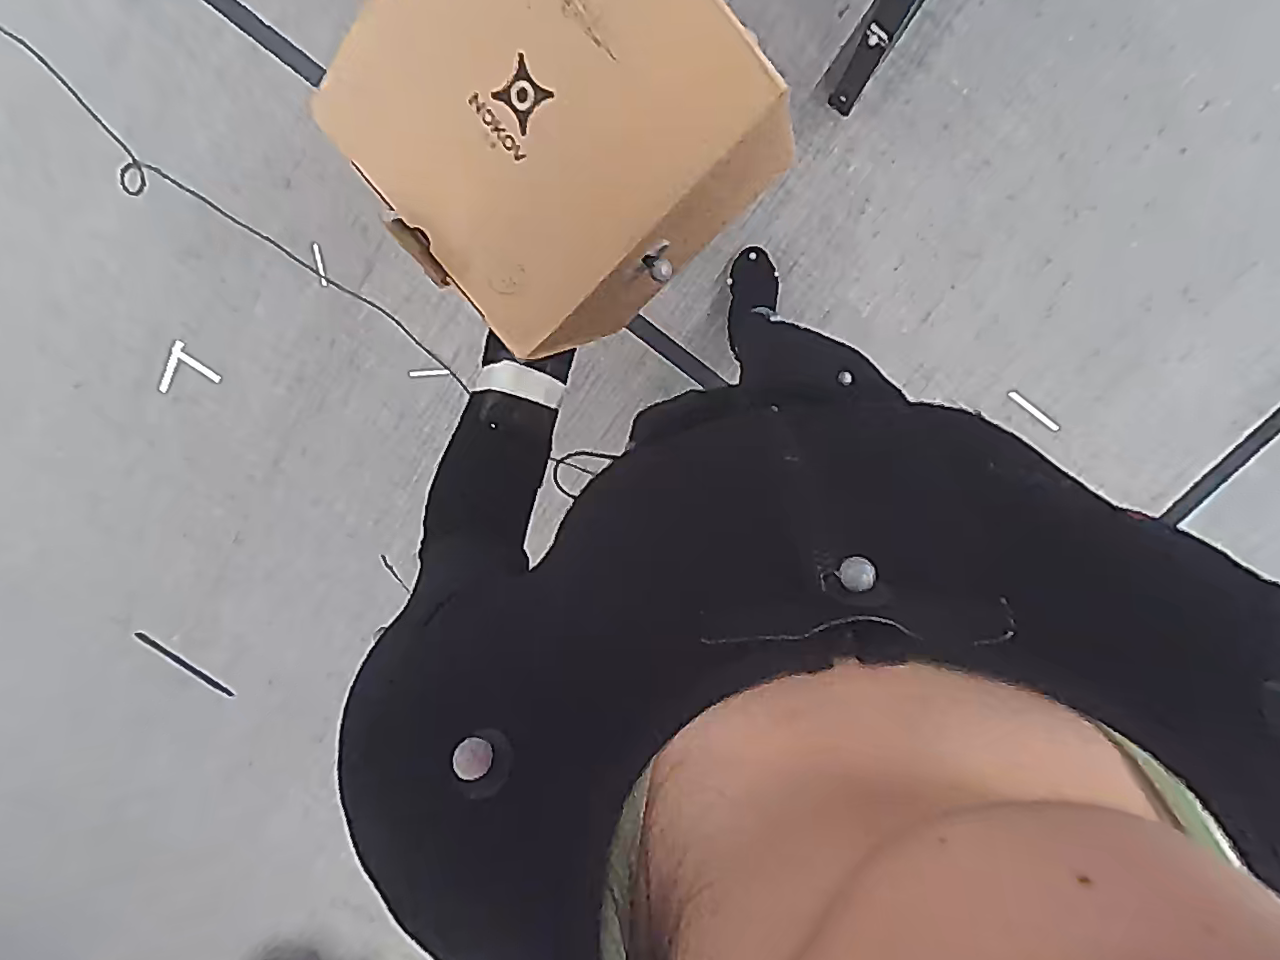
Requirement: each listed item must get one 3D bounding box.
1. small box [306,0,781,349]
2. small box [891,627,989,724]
[{"bbox_3d":[-0.037,-0.204,0.316,0.179,0.176,0.168,-36,97,27],"label":"small box"},{"bbox_3d":[0.795,0.518,1.453,0.168,0.176,0.179,5,107,6],"label":"small box"}]
